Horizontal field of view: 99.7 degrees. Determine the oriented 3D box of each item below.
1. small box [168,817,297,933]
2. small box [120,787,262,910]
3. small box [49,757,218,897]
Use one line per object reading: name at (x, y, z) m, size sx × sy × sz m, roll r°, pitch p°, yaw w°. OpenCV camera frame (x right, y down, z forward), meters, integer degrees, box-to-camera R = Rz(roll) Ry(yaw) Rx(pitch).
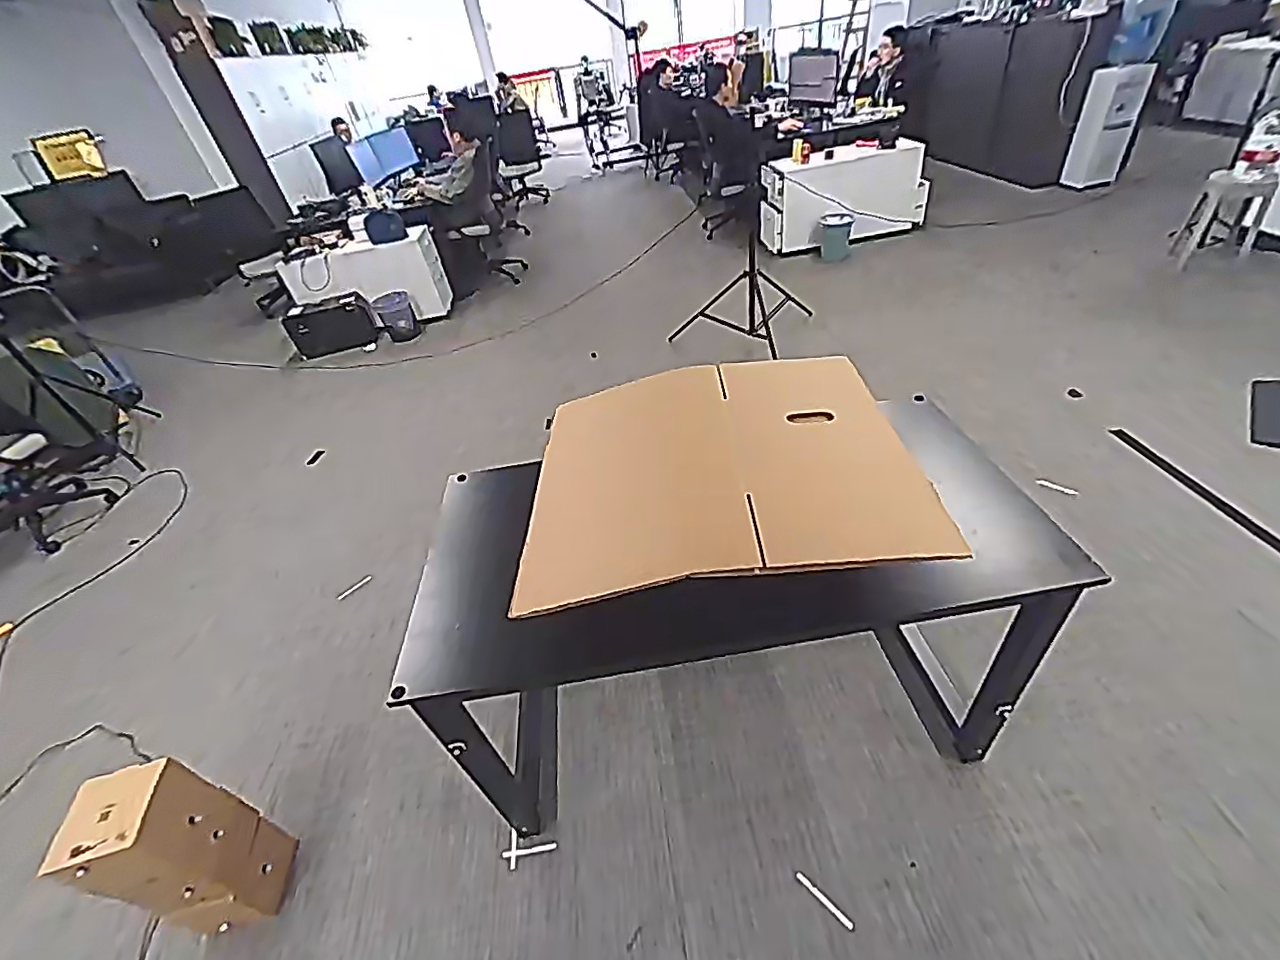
small box at (-0.984, 0.972, 1.330) m, size 0.168 × 0.176 × 0.179 m, roll -12°, pitch 40°, yaw -2°
small box at (-1.010, 0.845, 1.233) m, size 0.168 × 0.176 × 0.179 m, roll -14°, pitch 38°, yaw -5°
small box at (-1.032, 0.721, 1.126) m, size 0.168 × 0.176 × 0.179 m, roll -15°, pitch 39°, yaw -7°
